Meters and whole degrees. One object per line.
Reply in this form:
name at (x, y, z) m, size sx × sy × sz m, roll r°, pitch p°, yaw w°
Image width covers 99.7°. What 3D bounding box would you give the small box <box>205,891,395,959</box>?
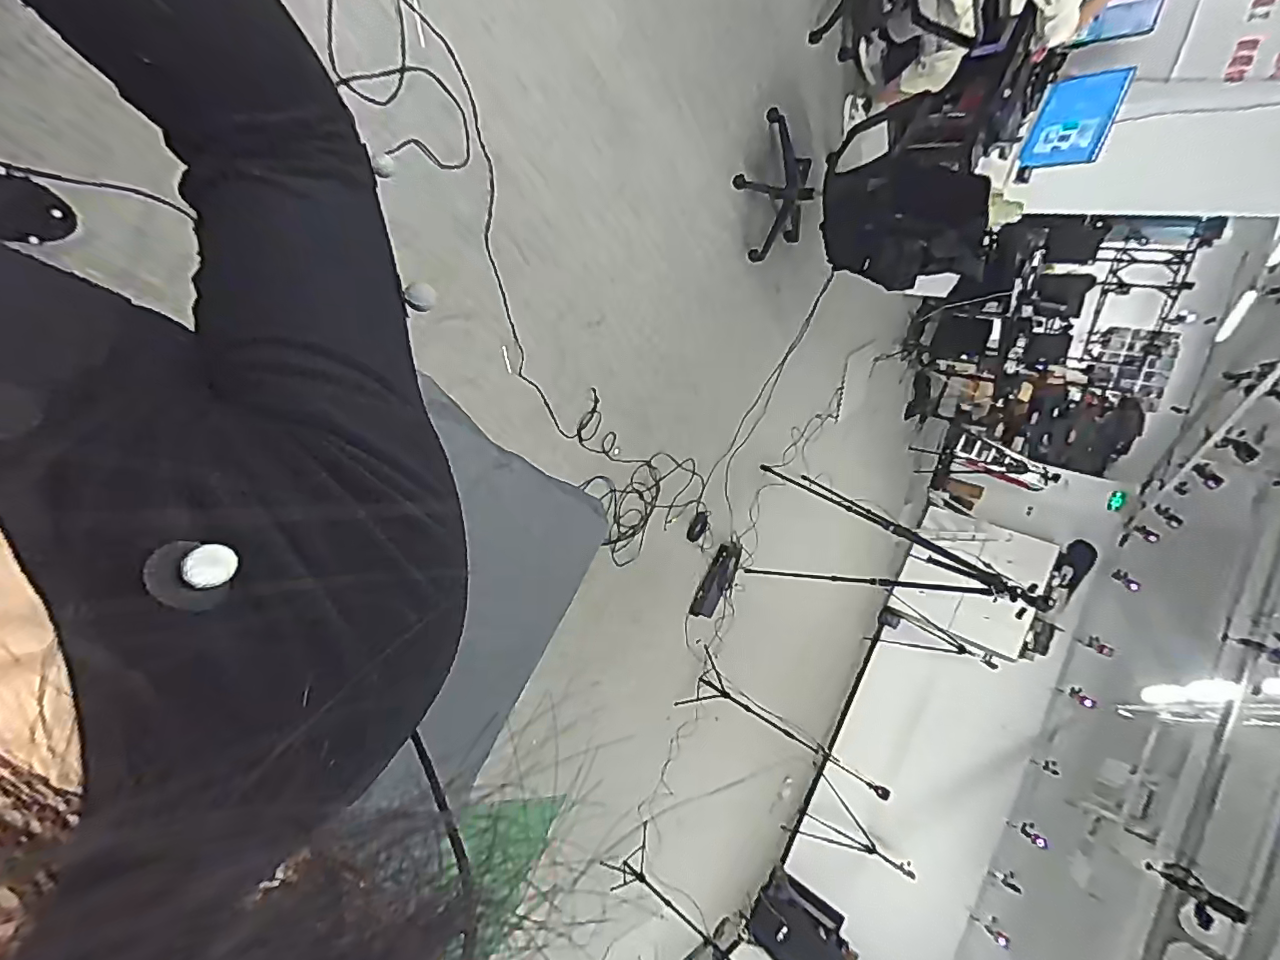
small box at (-0.434, 0.651, 0.670) m, size 0.168 × 0.176 × 0.179 m, roll -59°, pitch 144°, yaw -16°
